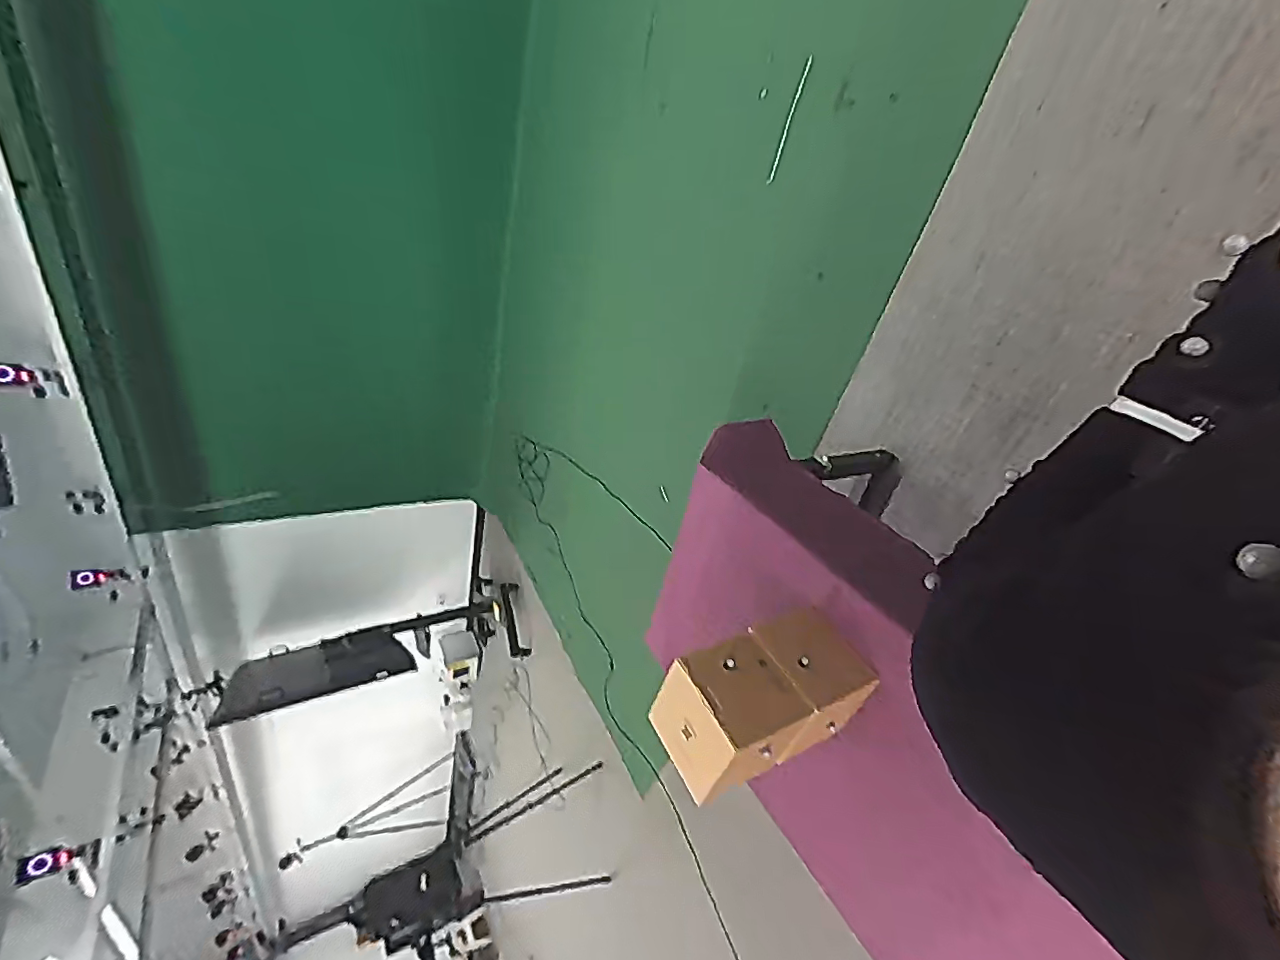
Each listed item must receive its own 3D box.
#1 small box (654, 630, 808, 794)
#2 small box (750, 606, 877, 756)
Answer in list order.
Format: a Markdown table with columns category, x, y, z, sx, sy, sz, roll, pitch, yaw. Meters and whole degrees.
| category | x | y | z | sx | sy | sz | roll | pitch | yaw |
| --- | --- | --- | --- | --- | --- | --- | --- | --- | --- |
| small box | 0.152 | 0.380 | 0.910 | 0.168 | 0.176 | 0.179 | 53 | 138 | 40 |
| small box | 0.292 | 0.358 | 0.990 | 0.179 | 0.176 | 0.168 | 52 | 136 | 40 |
